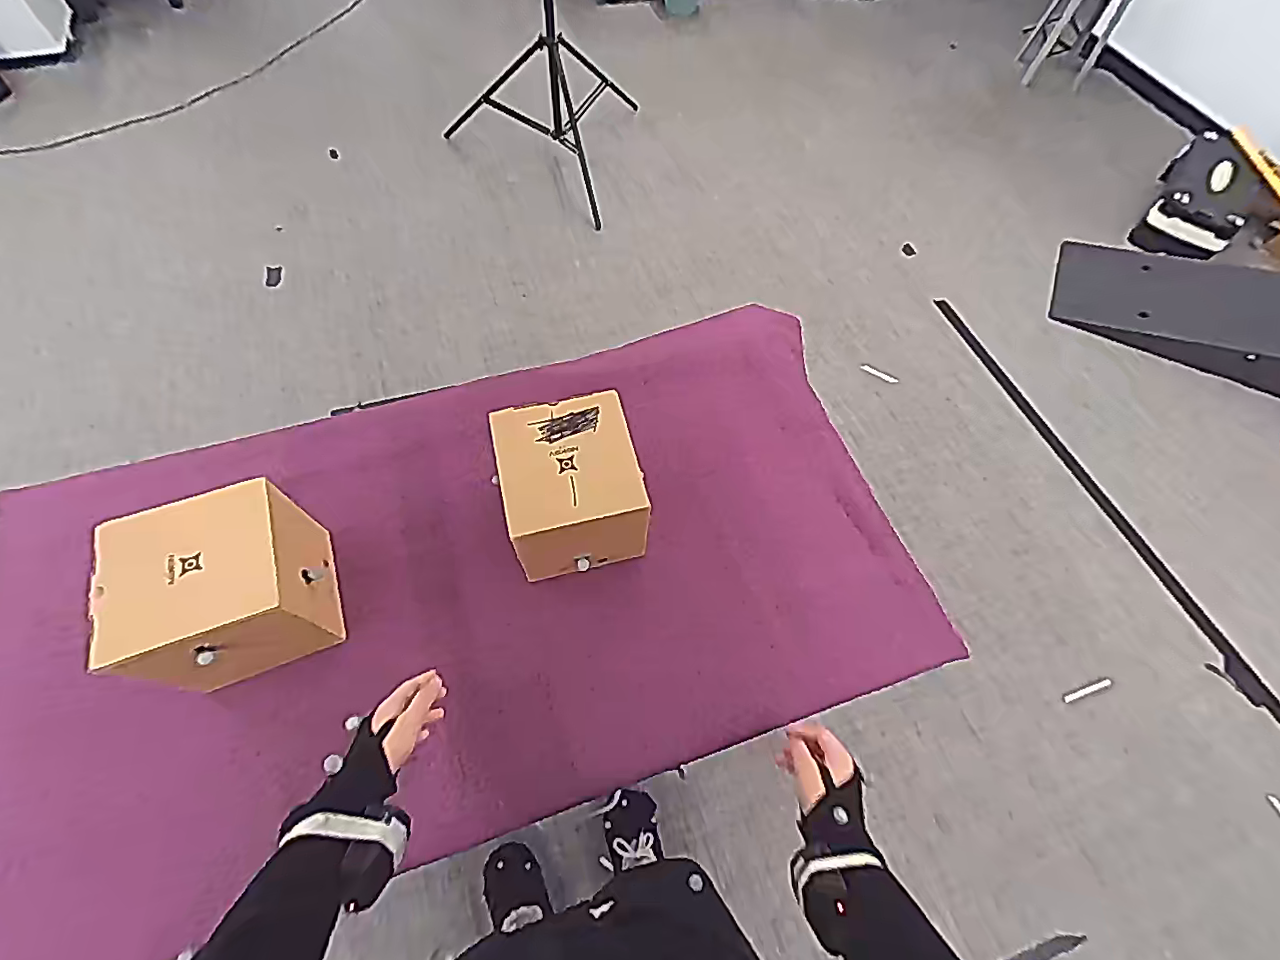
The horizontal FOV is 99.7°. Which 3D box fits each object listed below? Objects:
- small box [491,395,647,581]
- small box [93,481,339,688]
[{"bbox_3d":[-0.094,0.015,0.726,0.168,0.176,0.179,-12,64,-9],"label":"small box"},{"bbox_3d":[-0.485,0.130,0.646,0.179,0.176,0.168,-19,65,-12],"label":"small box"}]
